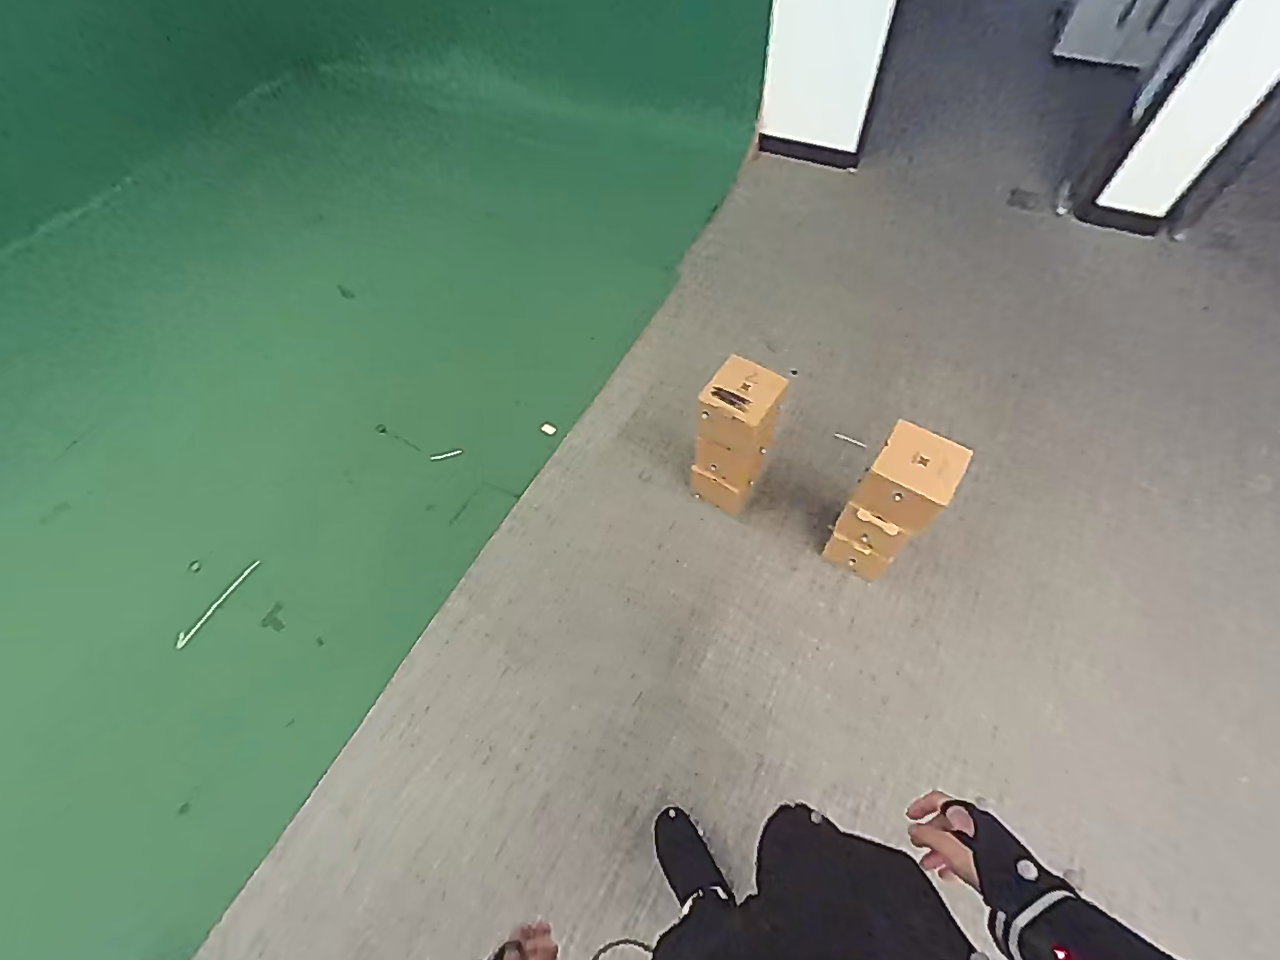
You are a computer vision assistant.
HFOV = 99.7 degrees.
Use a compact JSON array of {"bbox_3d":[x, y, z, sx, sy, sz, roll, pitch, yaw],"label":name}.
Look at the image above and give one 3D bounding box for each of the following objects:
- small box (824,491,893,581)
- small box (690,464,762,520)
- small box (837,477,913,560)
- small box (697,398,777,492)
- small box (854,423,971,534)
[{"bbox_3d":[0.650,0.168,1.568,0.168,0.176,0.179,26,67,18],"label":"small box"},{"bbox_3d":[0.274,-0.003,1.715,0.168,0.176,0.179,29,67,19],"label":"small box"},{"bbox_3d":[0.643,0.079,1.429,0.168,0.176,0.179,30,67,20],"label":"small box"},{"bbox_3d":[0.273,-0.098,1.564,0.168,0.176,0.179,29,68,19],"label":"small box"},{"bbox_3d":[0.636,0.003,1.284,0.179,0.176,0.168,30,68,20],"label":"small box"}]
